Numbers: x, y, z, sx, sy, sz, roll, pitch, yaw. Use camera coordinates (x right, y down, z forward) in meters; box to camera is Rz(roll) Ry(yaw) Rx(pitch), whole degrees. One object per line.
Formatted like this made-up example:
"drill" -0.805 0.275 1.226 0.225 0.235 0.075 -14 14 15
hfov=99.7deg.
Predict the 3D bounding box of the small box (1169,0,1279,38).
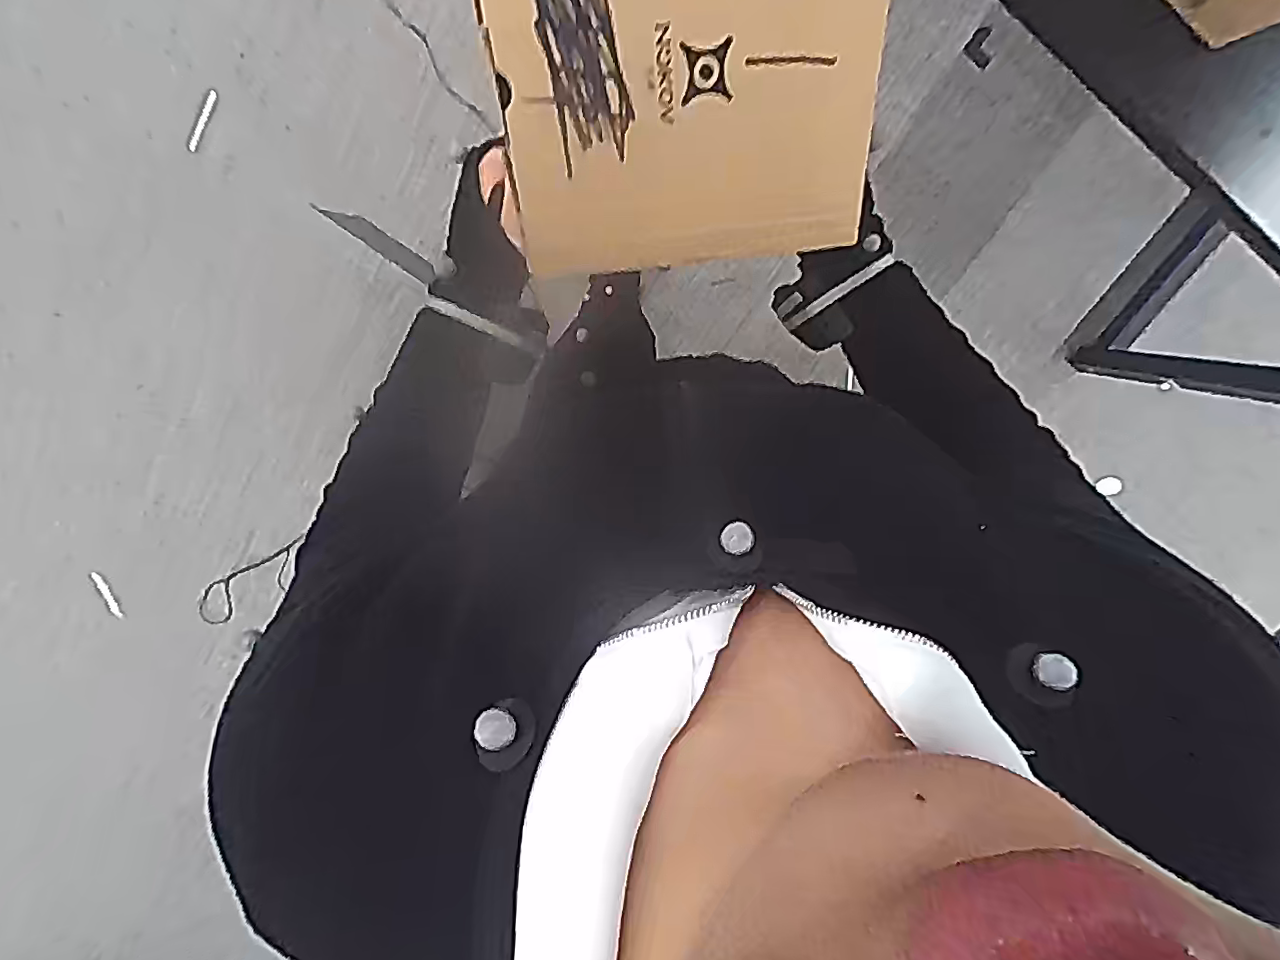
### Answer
"small box" 0.607 -0.562 0.486 0.168 0.176 0.179 31 105 -12

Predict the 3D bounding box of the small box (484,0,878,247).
"small box" 0.017 -0.244 0.310 0.179 0.176 0.168 -5 126 0
